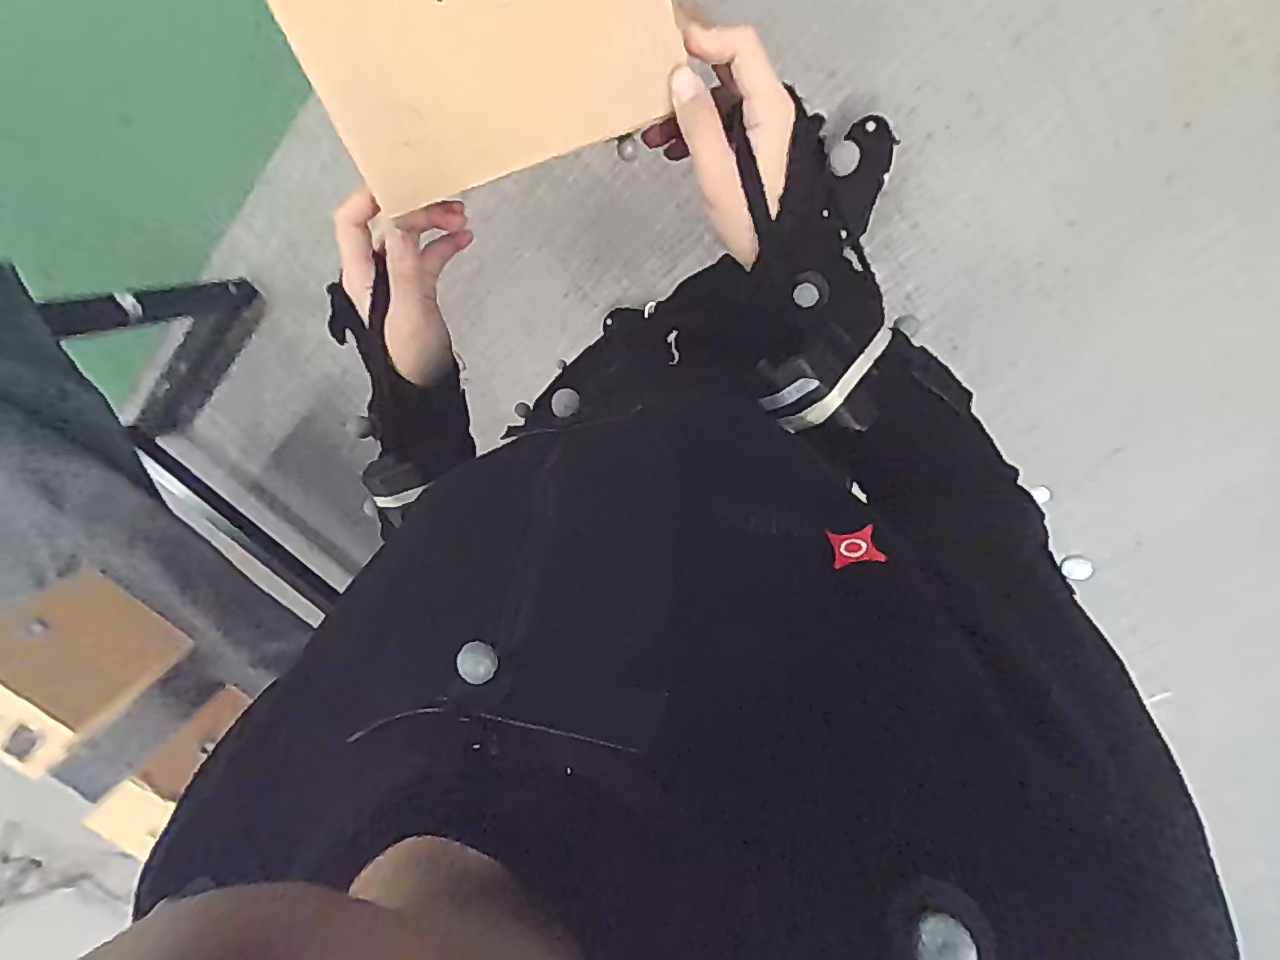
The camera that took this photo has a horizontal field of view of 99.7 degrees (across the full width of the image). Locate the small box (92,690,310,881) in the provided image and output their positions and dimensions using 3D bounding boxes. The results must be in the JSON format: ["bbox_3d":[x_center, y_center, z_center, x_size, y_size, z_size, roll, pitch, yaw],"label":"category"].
[{"bbox_3d":[-0.649,0.456,0.822,0.179,0.176,0.168,-38,104,23],"label":"small box"}]
